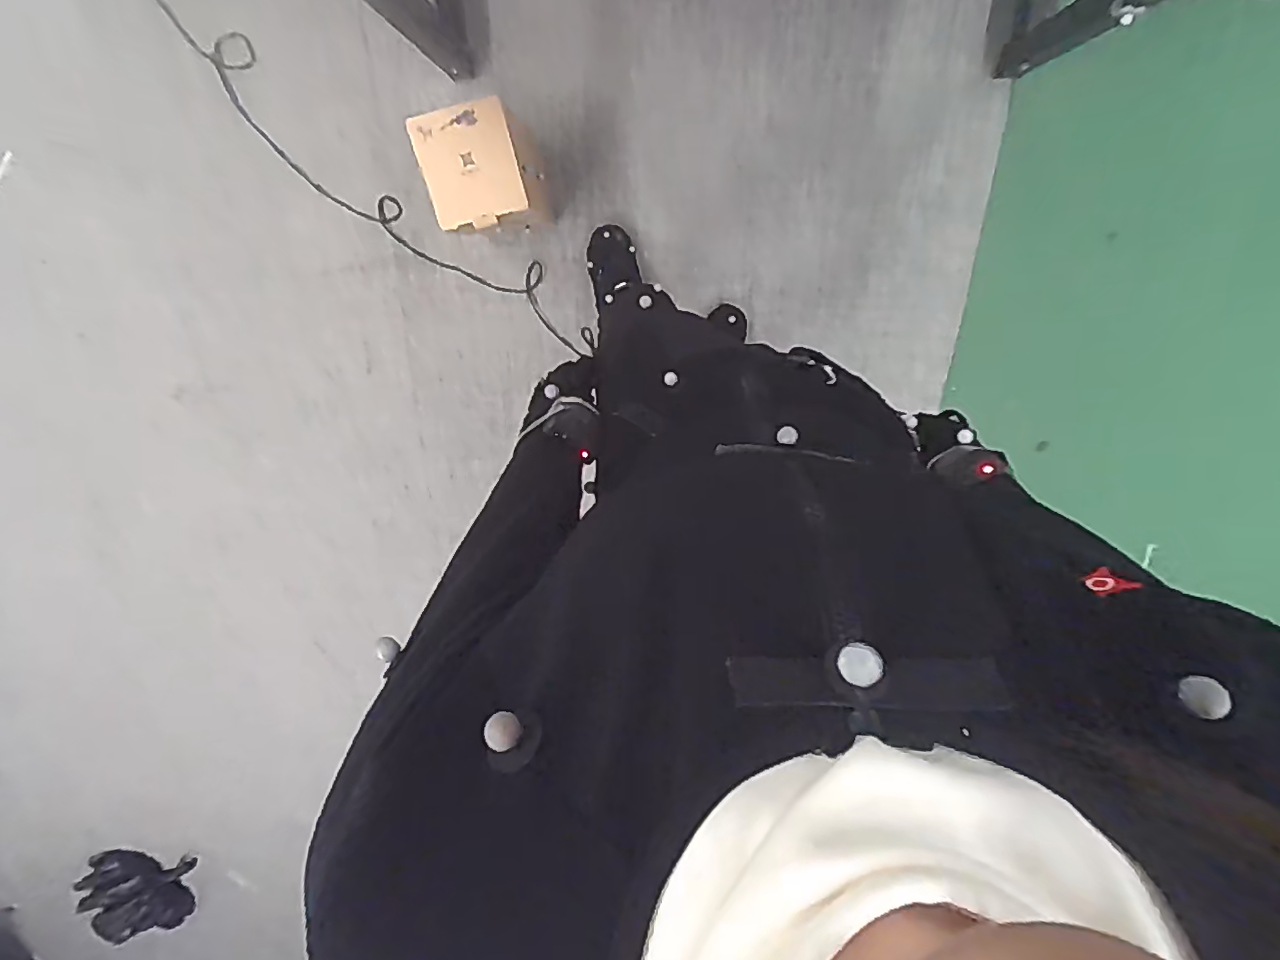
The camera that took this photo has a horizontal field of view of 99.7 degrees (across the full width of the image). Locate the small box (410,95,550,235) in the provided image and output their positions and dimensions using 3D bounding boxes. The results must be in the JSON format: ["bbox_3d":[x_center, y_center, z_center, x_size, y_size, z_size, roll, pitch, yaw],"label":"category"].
[{"bbox_3d":[-0.280,-0.562,0.993,0.168,0.176,0.179,-13,110,9],"label":"small box"}]
